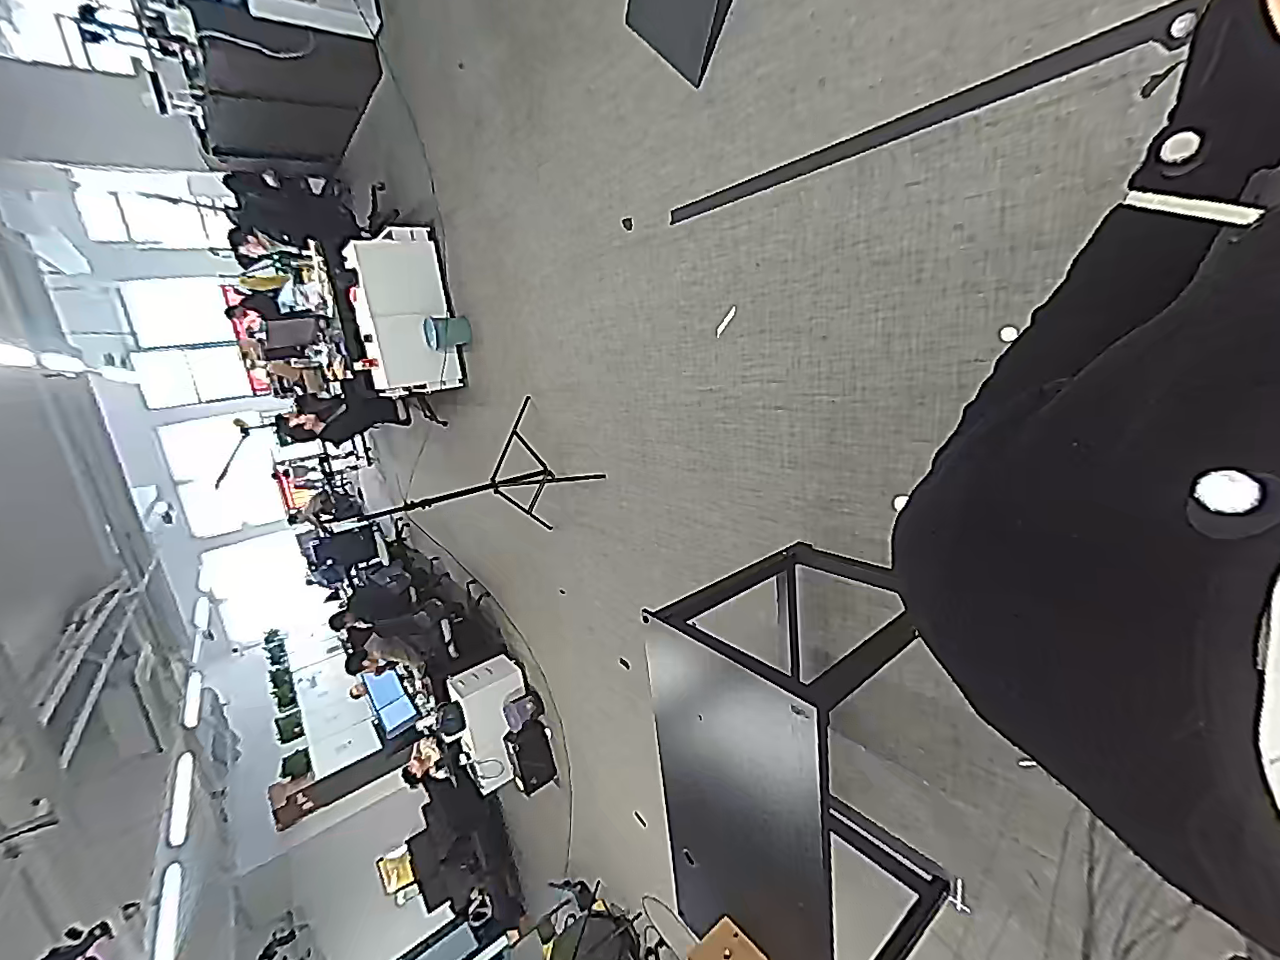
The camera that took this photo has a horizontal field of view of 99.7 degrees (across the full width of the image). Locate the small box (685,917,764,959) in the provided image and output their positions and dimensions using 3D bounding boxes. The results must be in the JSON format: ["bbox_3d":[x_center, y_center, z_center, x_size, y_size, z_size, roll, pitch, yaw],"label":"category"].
[{"bbox_3d":[0.251,1.419,1.545,0.168,0.176,0.179,10,112,53],"label":"small box"}]
